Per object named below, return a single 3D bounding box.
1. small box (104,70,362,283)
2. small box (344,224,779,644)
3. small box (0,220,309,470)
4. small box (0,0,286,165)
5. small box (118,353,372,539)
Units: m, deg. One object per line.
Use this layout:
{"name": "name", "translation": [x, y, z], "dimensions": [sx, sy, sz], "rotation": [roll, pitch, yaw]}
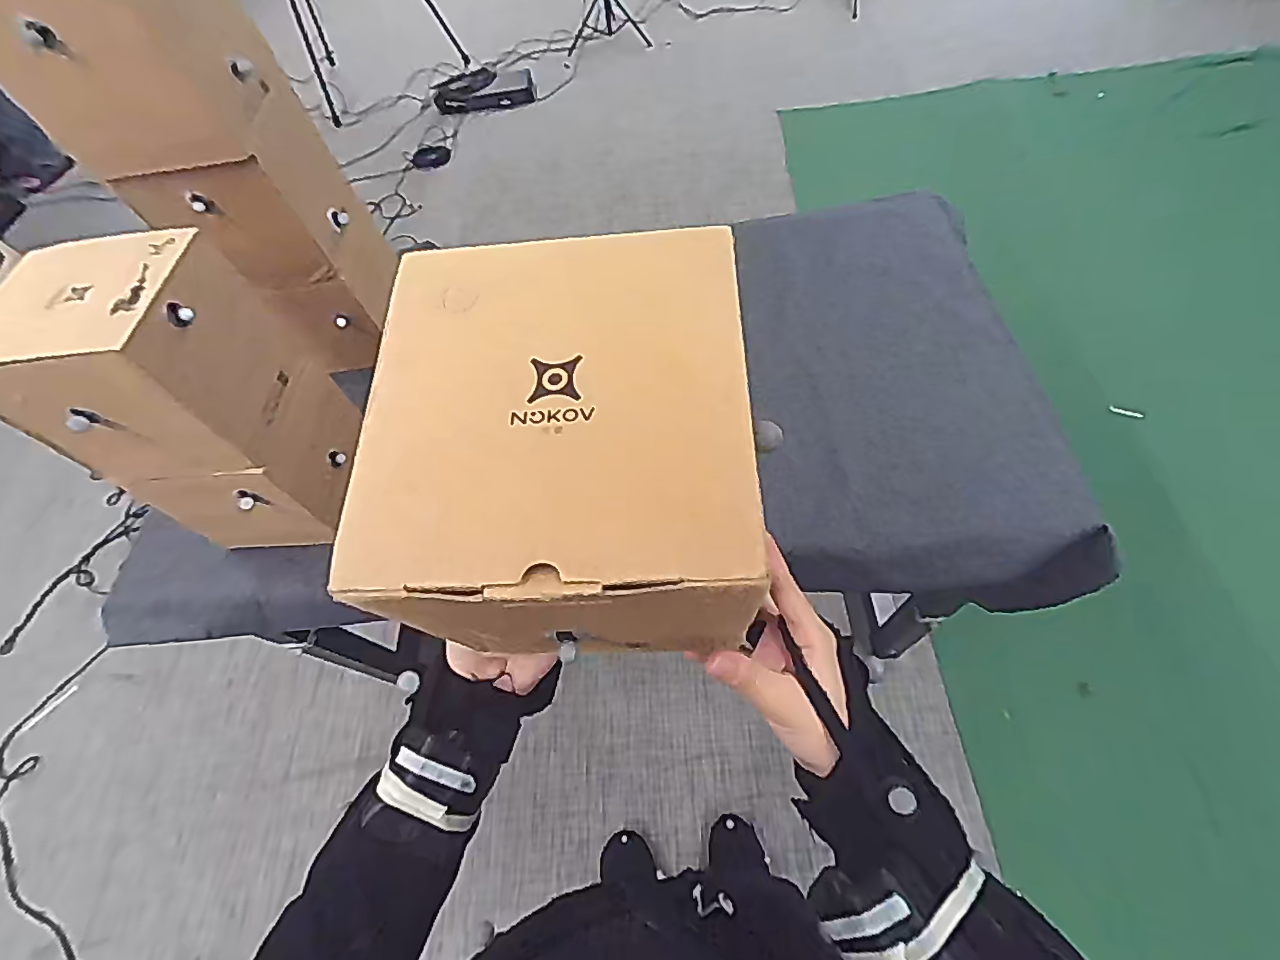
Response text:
{"name": "small box", "translation": [-0.490, -0.372, 0.683], "dimensions": [0.179, 0.176, 0.168], "rotation": [-7, 63, 1]}
{"name": "small box", "translation": [-0.025, -0.009, 0.304], "dimensions": [0.168, 0.176, 0.179], "rotation": [-3, 67, 4]}
{"name": "small box", "translation": [-0.480, -0.123, 0.537], "dimensions": [0.179, 0.176, 0.168], "rotation": [-6, 58, 4]}
{"name": "small box", "translation": [-0.503, -0.441, 0.535], "dimensions": [0.179, 0.176, 0.168], "rotation": [-6, 62, 3]}
{"name": "small box", "translation": [-0.459, -0.035, 0.674], "dimensions": [0.179, 0.176, 0.168], "rotation": [-3, 58, 6]}
